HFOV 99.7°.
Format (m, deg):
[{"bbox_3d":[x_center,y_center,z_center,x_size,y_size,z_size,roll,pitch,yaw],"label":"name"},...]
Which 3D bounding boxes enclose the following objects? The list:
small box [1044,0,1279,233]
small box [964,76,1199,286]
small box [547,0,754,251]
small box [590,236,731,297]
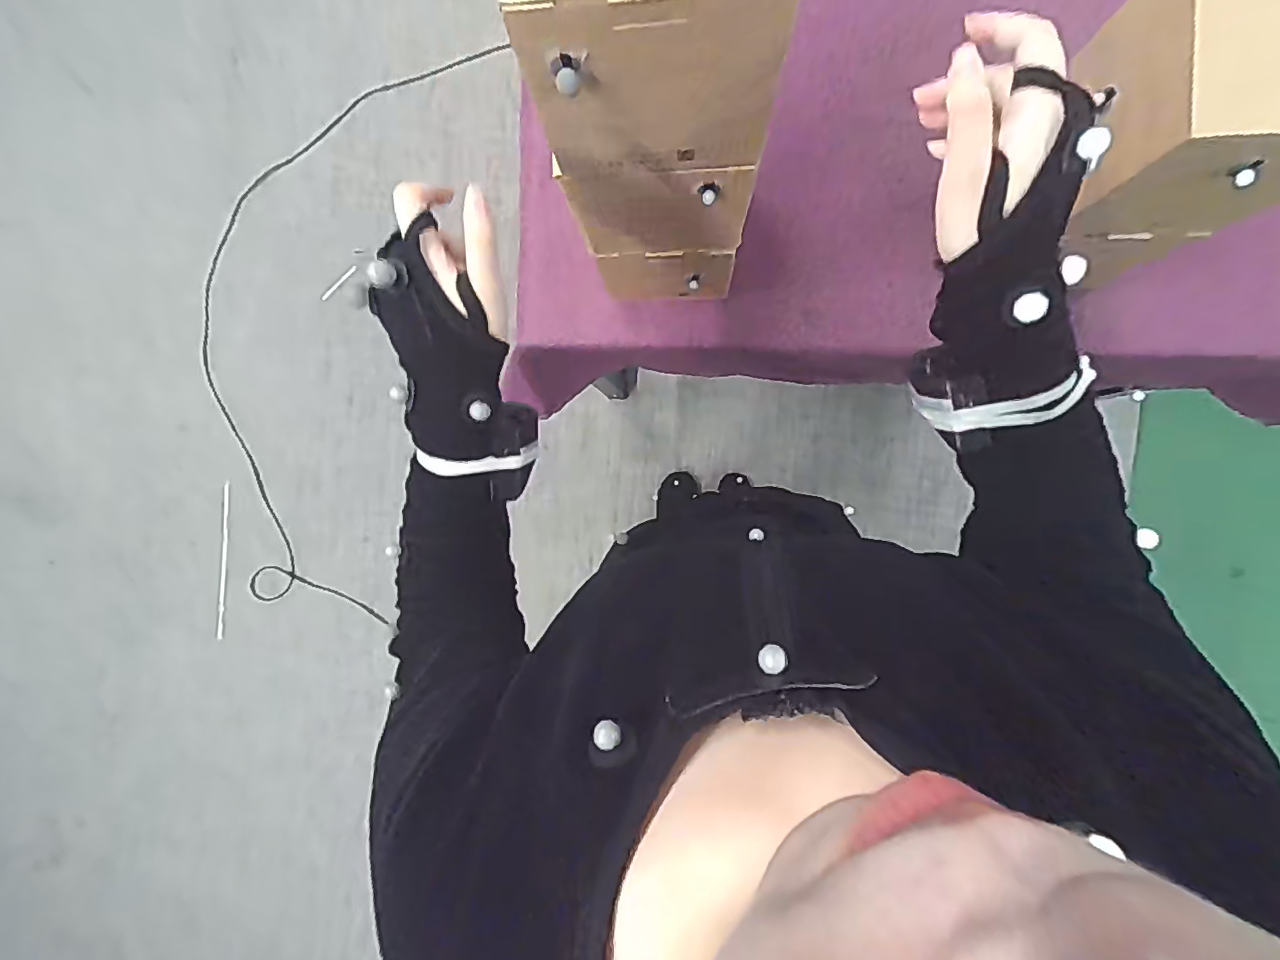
[{"bbox_3d":[0.507,-0.339,0.489,0.179,0.176,0.168,2,91,5],"label":"small box"},{"bbox_3d":[0.519,-0.344,0.654,0.168,0.176,0.179,2,92,5],"label":"small box"},{"bbox_3d":[0.014,-0.341,0.535,0.179,0.176,0.168,-1,91,3],"label":"small box"},{"bbox_3d":[0.031,-0.343,0.696,0.168,0.176,0.179,1,91,4],"label":"small box"}]
